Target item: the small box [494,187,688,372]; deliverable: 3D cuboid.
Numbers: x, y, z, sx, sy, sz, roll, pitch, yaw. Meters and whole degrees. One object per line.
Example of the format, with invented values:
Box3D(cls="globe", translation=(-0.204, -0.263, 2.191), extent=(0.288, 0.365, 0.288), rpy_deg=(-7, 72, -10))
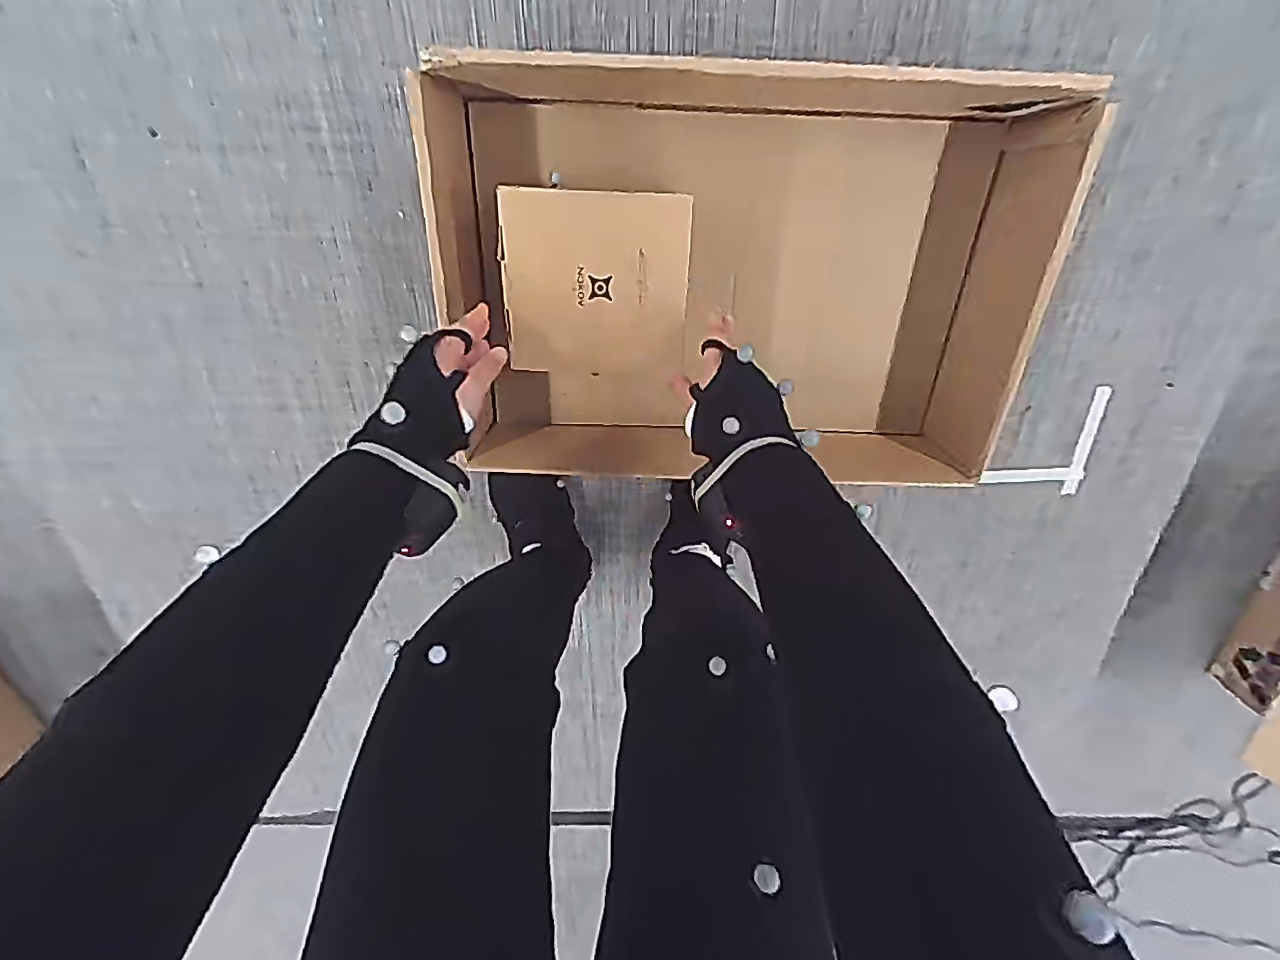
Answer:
Box3D(cls="small box", translation=(-0.048, -0.222, 0.589), extent=(0.179, 0.176, 0.168), rpy_deg=(0, 118, -2))
